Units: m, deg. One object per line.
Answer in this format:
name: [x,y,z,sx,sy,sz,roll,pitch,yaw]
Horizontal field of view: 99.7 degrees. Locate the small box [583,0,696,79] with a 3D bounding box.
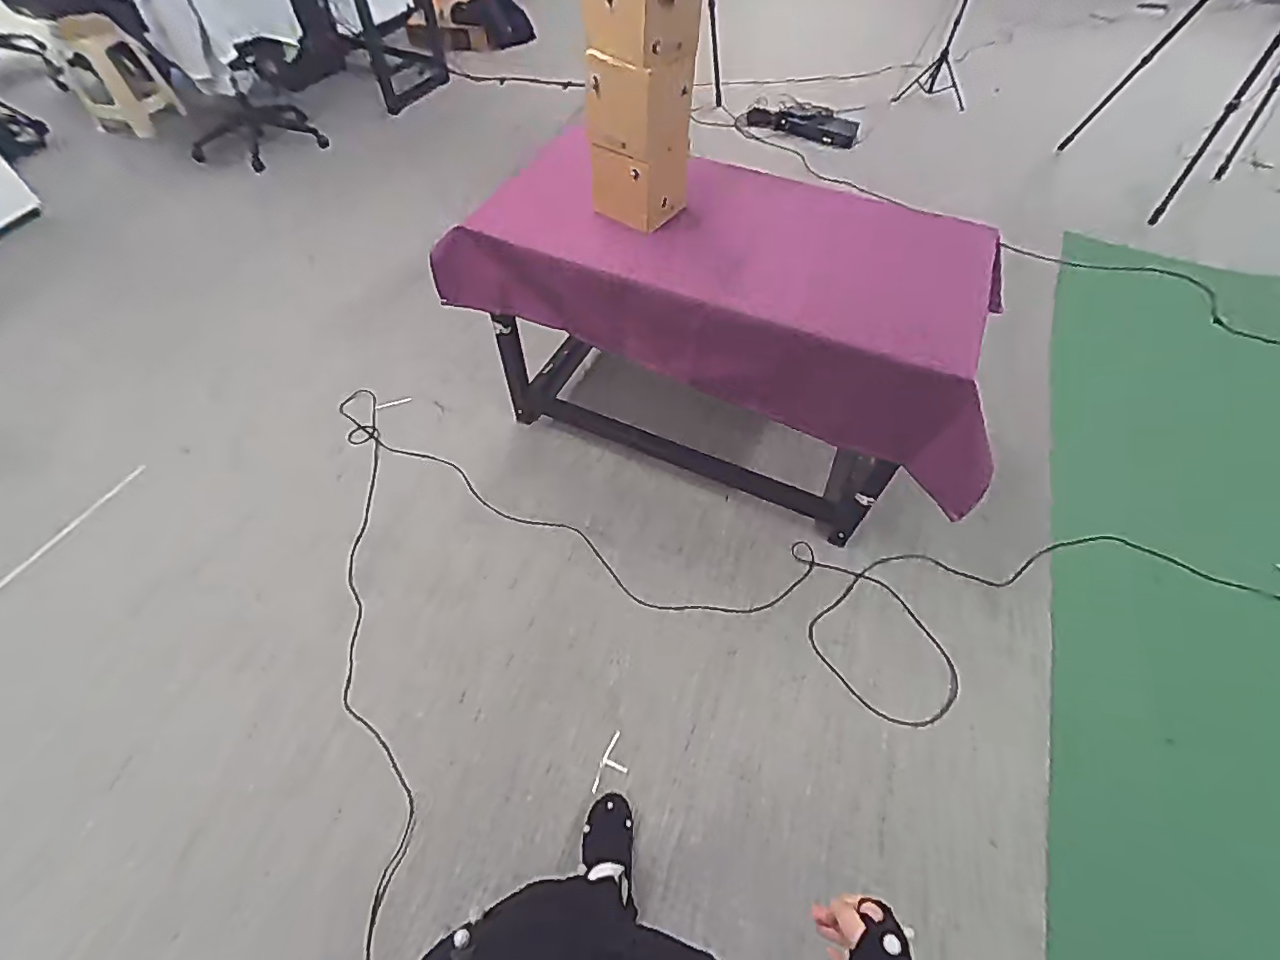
small box: [0.002,-0.935,1.084,0.179,0.176,0.168,38,61,23]

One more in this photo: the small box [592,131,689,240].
small box: [-0.002,-0.726,1.339,0.179,0.176,0.168,32,59,19]
